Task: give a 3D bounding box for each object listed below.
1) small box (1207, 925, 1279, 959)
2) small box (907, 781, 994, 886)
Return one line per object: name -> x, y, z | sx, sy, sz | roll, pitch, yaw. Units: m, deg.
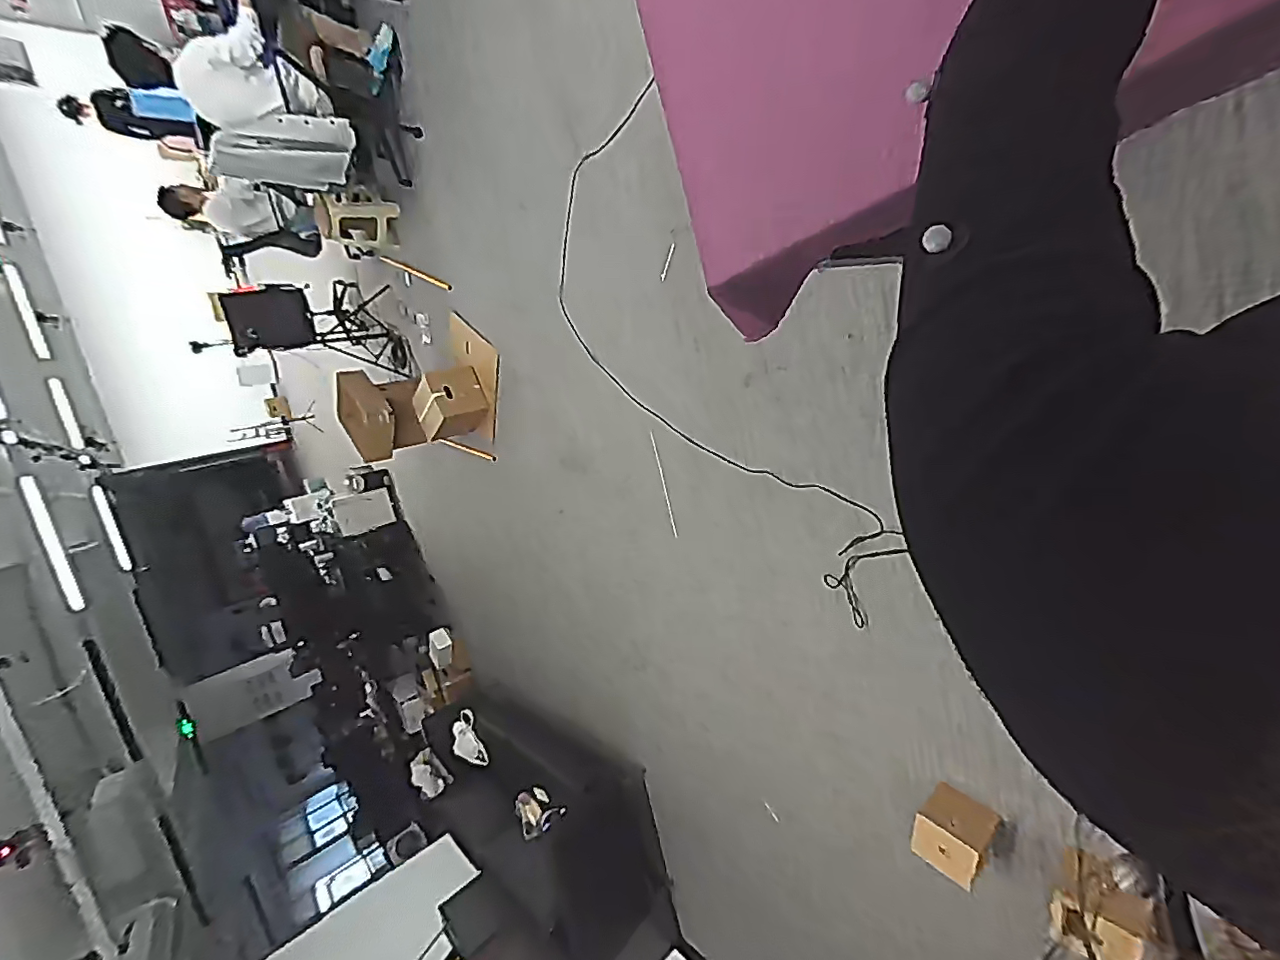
small box -> 1.369, 1.133, 1.179 | 0.179, 0.176, 0.168 | -1, 106, 51
small box -> 0.960, 1.080, 1.669 | 0.179, 0.176, 0.168 | 22, 121, 46
